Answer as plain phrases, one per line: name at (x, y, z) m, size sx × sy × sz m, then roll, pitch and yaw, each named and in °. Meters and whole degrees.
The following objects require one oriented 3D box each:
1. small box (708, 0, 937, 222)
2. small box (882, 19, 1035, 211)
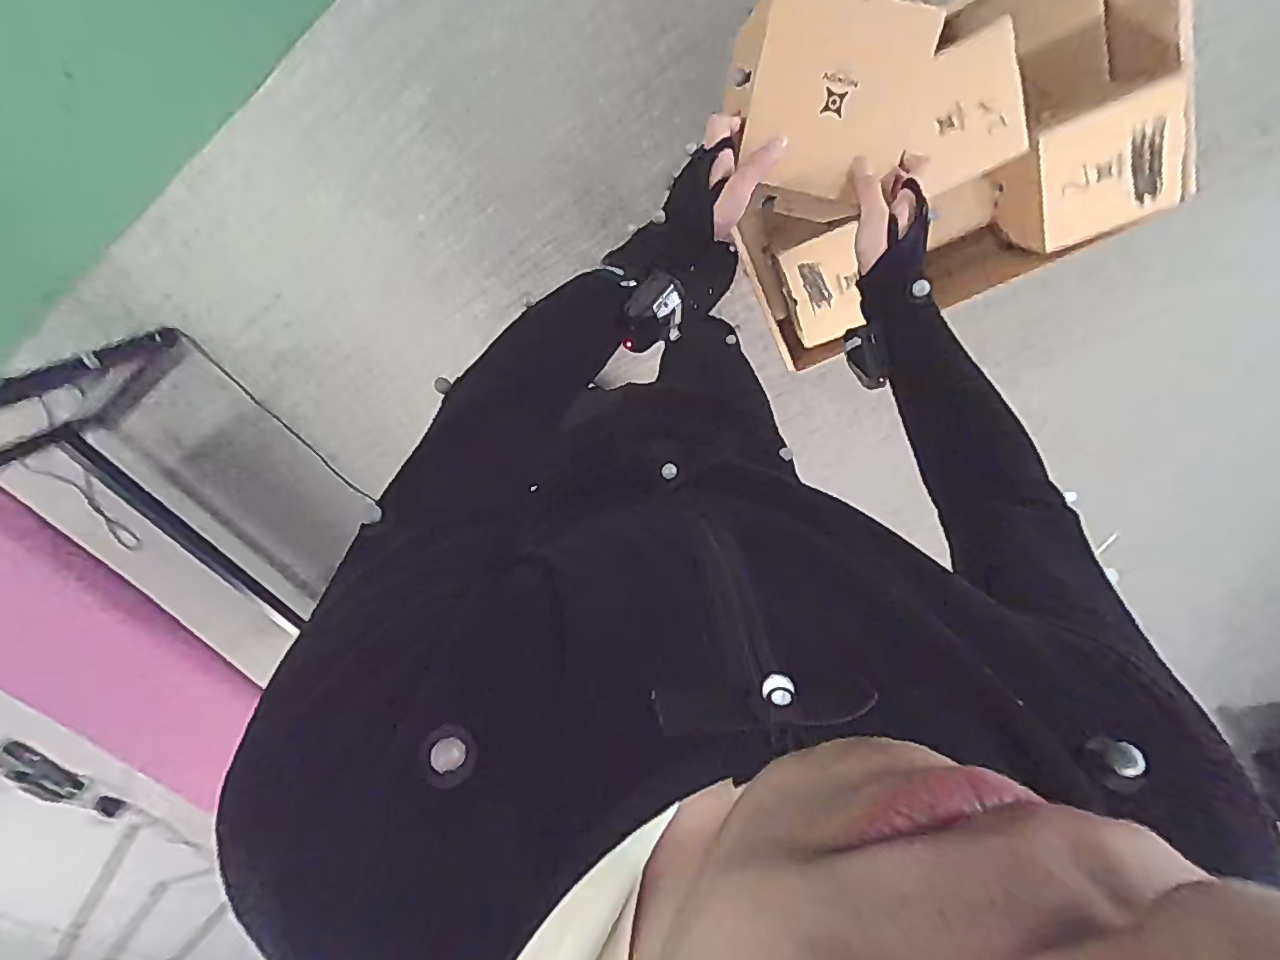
small box at (0.177, -0.394, 0.592) m, size 0.168 × 0.176 × 0.179 m, roll 8°, pitch 110°, yaw -6°
small box at (0.440, -0.527, 0.802) m, size 0.179 × 0.176 × 0.168 m, roll -20°, pitch 118°, yaw 19°
